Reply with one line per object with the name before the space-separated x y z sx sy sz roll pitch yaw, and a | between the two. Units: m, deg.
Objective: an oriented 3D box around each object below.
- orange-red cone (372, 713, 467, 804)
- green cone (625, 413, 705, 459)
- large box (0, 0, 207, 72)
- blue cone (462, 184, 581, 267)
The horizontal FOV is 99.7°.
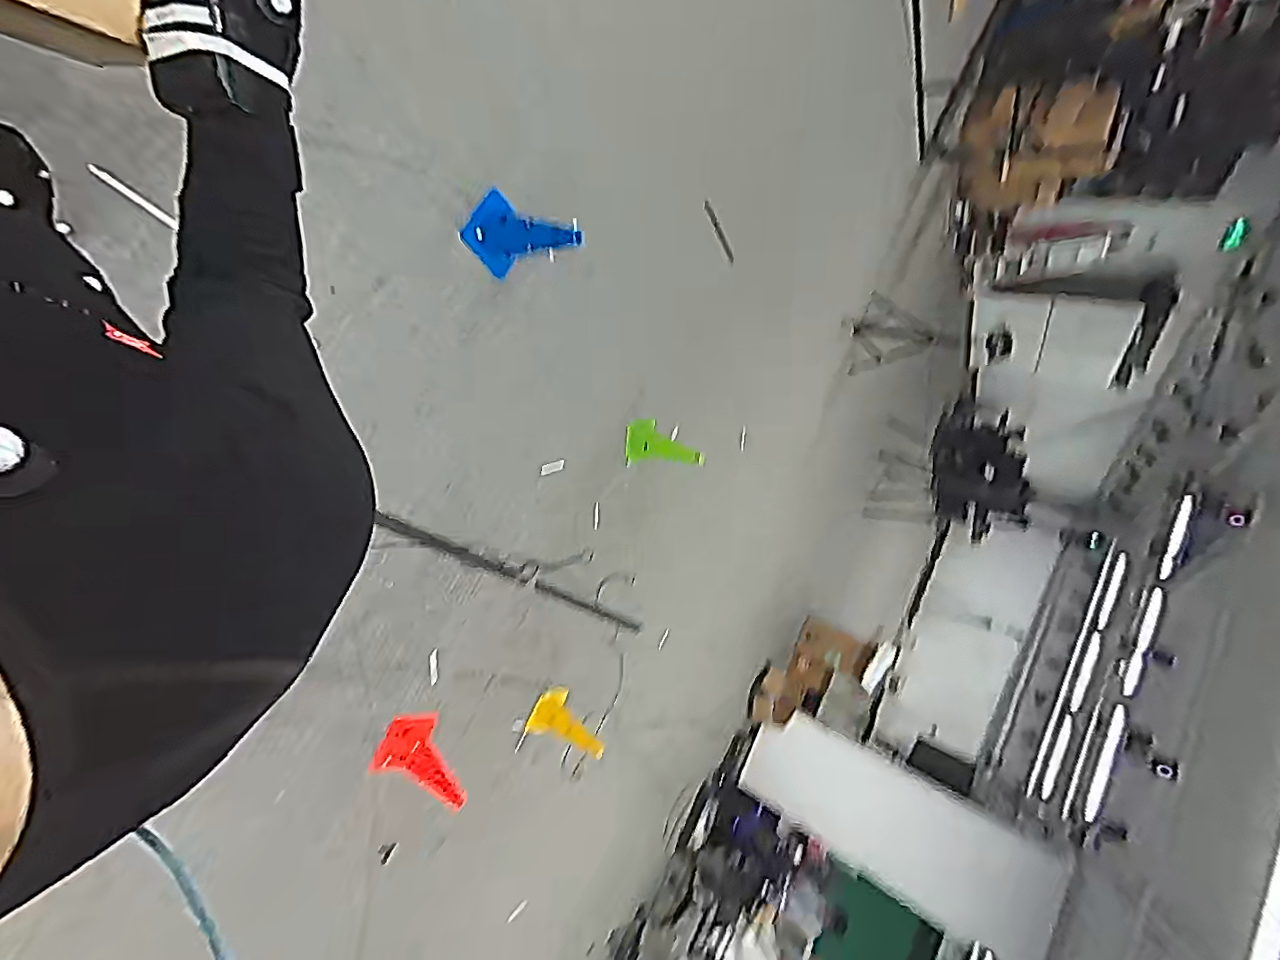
orange-red cone | -0.714 0.986 1.858 0.199 0.360 0.198 37 77 -55
green cone | 0.132 -0.162 2.433 0.200 0.368 0.202 -20 121 -48
large box | -0.511 -0.470 0.266 0.408 0.320 0.320 -10 123 -53
blue cone | -0.321 -0.736 1.570 0.192 0.380 0.193 -62 145 -13
